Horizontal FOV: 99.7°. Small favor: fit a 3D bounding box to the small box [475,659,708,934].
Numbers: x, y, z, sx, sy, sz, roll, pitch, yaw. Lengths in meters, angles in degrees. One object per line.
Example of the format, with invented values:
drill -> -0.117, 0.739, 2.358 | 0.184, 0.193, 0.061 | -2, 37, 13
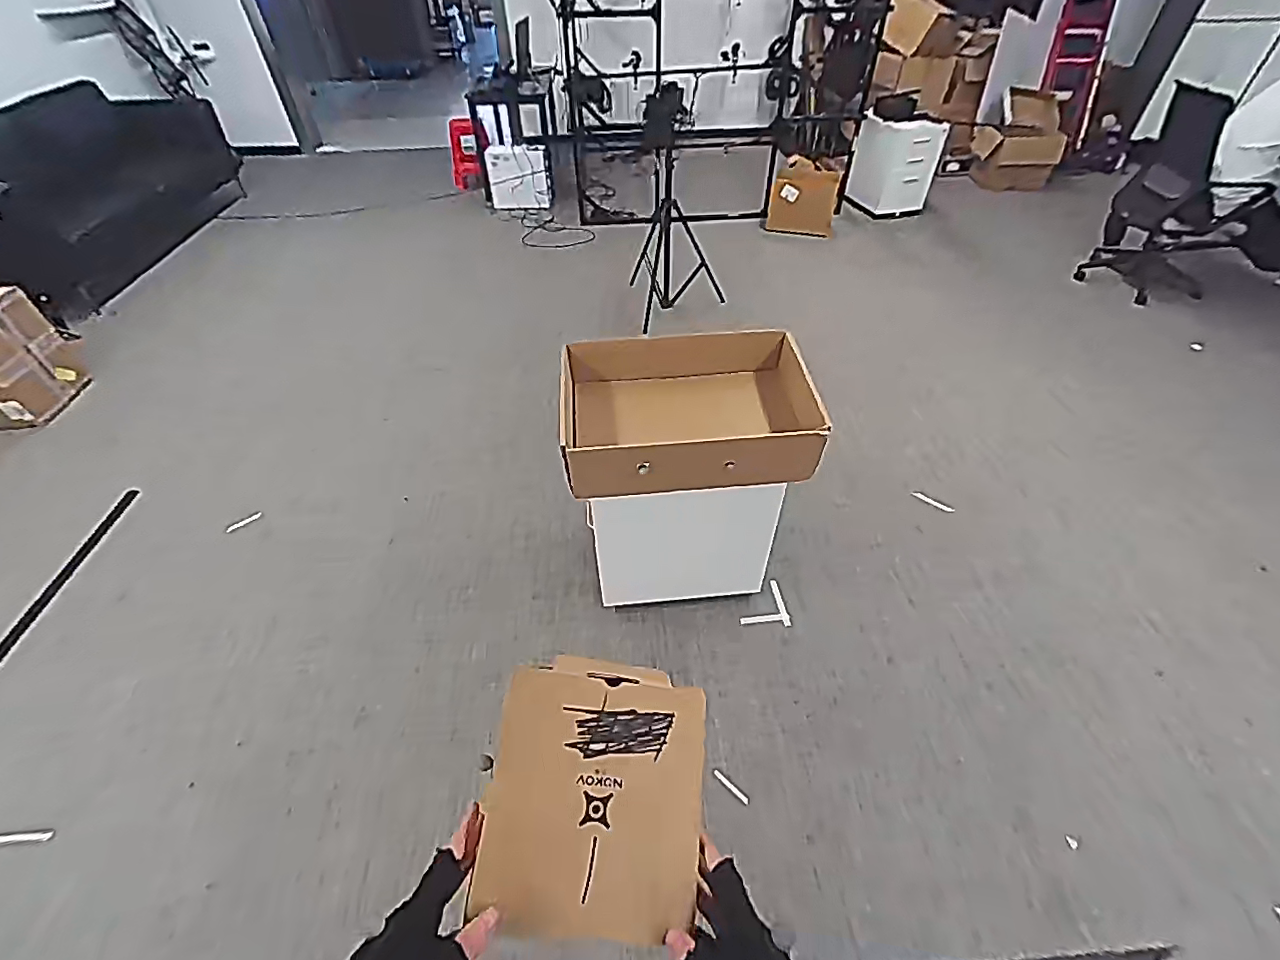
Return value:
small box -> -0.046, 0.269, 0.483 | 0.168, 0.176, 0.179 | 10, 64, -10
